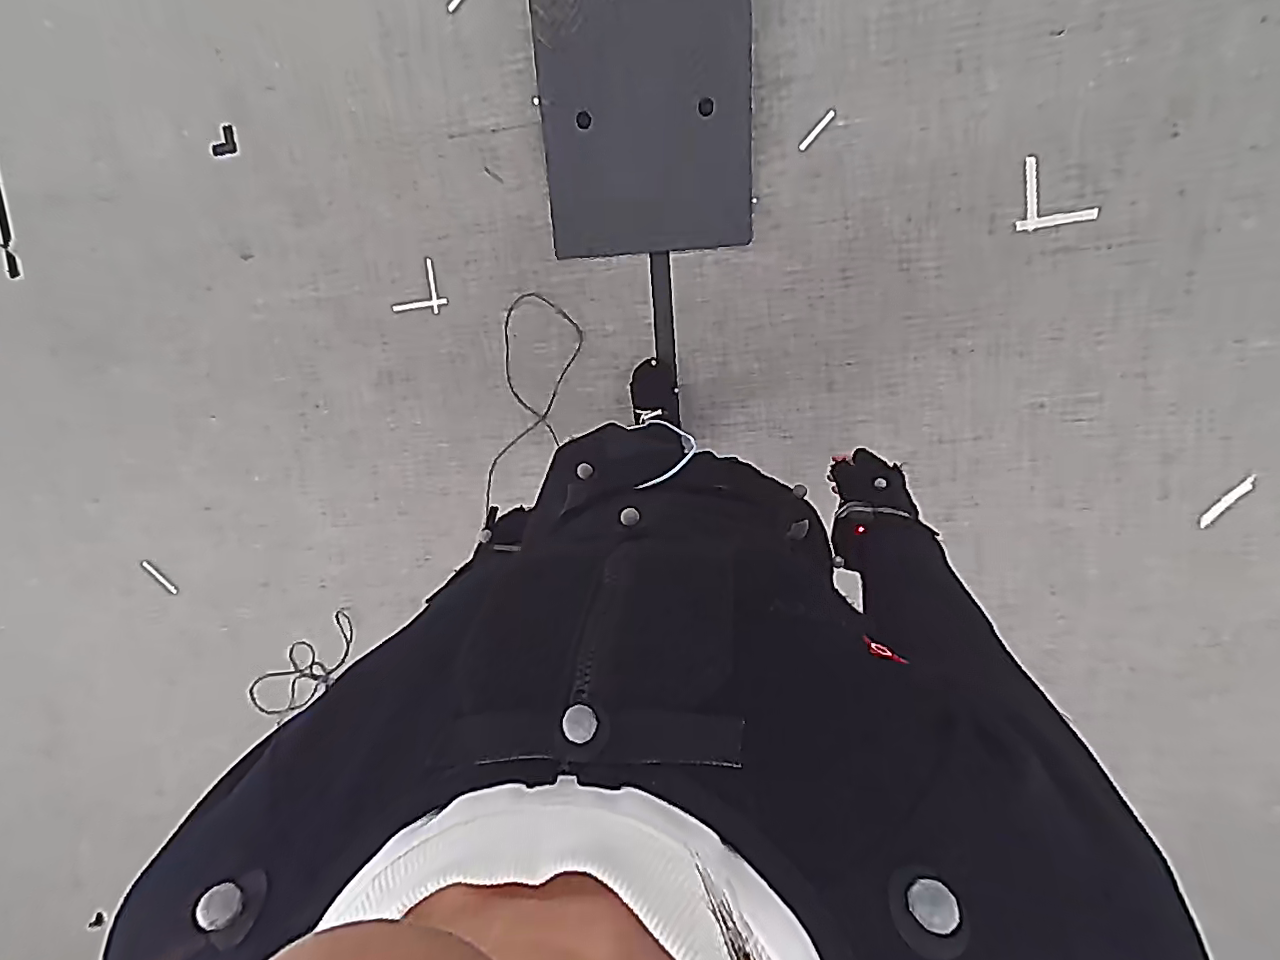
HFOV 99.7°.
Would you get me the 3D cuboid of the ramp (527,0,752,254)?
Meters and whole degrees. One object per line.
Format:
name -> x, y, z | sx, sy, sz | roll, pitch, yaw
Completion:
ramp -> -0.004, -1.049, 1.179 | 0.509, 0.206, 0.991 | -4, 100, 6
